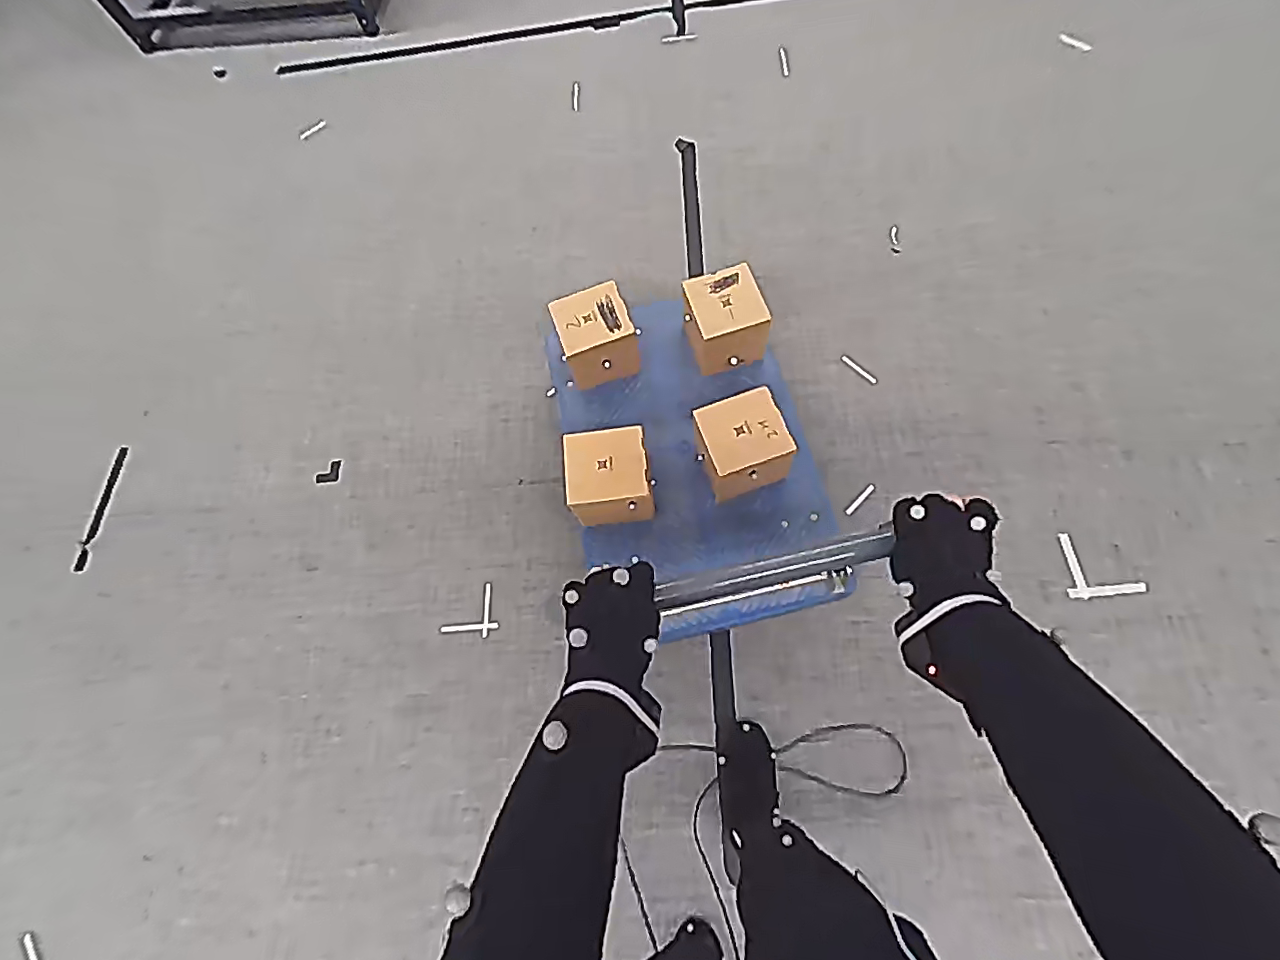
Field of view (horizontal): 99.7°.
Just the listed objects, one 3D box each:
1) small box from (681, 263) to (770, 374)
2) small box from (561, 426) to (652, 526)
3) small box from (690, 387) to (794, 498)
[{"bbox_3d":[0.202,-0.392,1.332,0.168,0.176,0.179,-17,70,0],"label":"small box"},{"bbox_3d":[-0.072,-0.002,1.220,0.179,0.176,0.168,-7,69,2],"label":"small box"},{"bbox_3d":[0.223,-0.076,1.213,0.179,0.176,0.168,-19,69,-1],"label":"small box"}]
